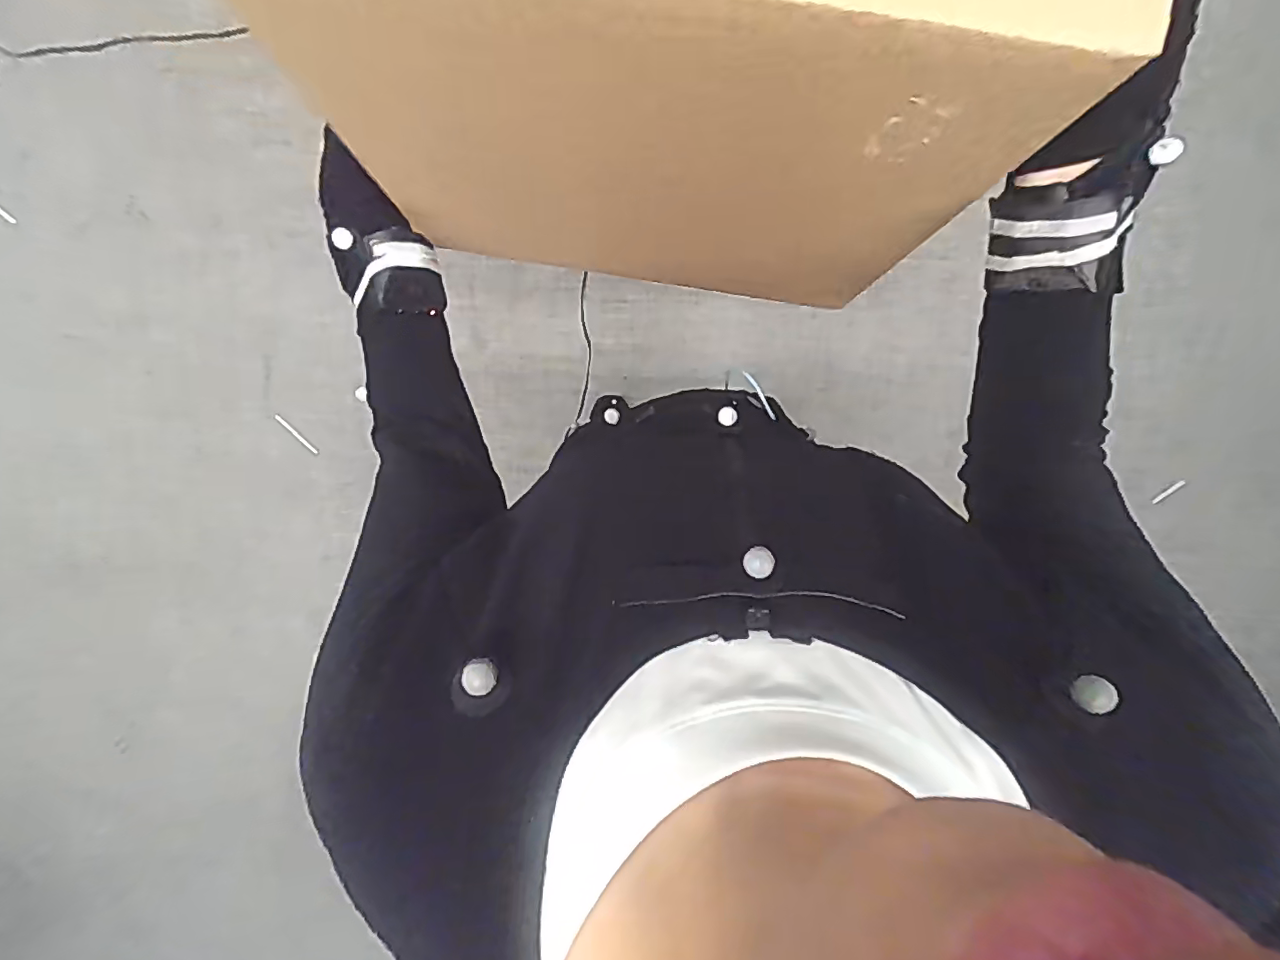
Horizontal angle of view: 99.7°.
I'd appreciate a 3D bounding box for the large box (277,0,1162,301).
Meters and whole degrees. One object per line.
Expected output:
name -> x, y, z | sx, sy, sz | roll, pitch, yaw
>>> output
large box -> 0.032, -0.348, 0.372 | 0.408, 0.320, 0.320 | 8, 89, -3
